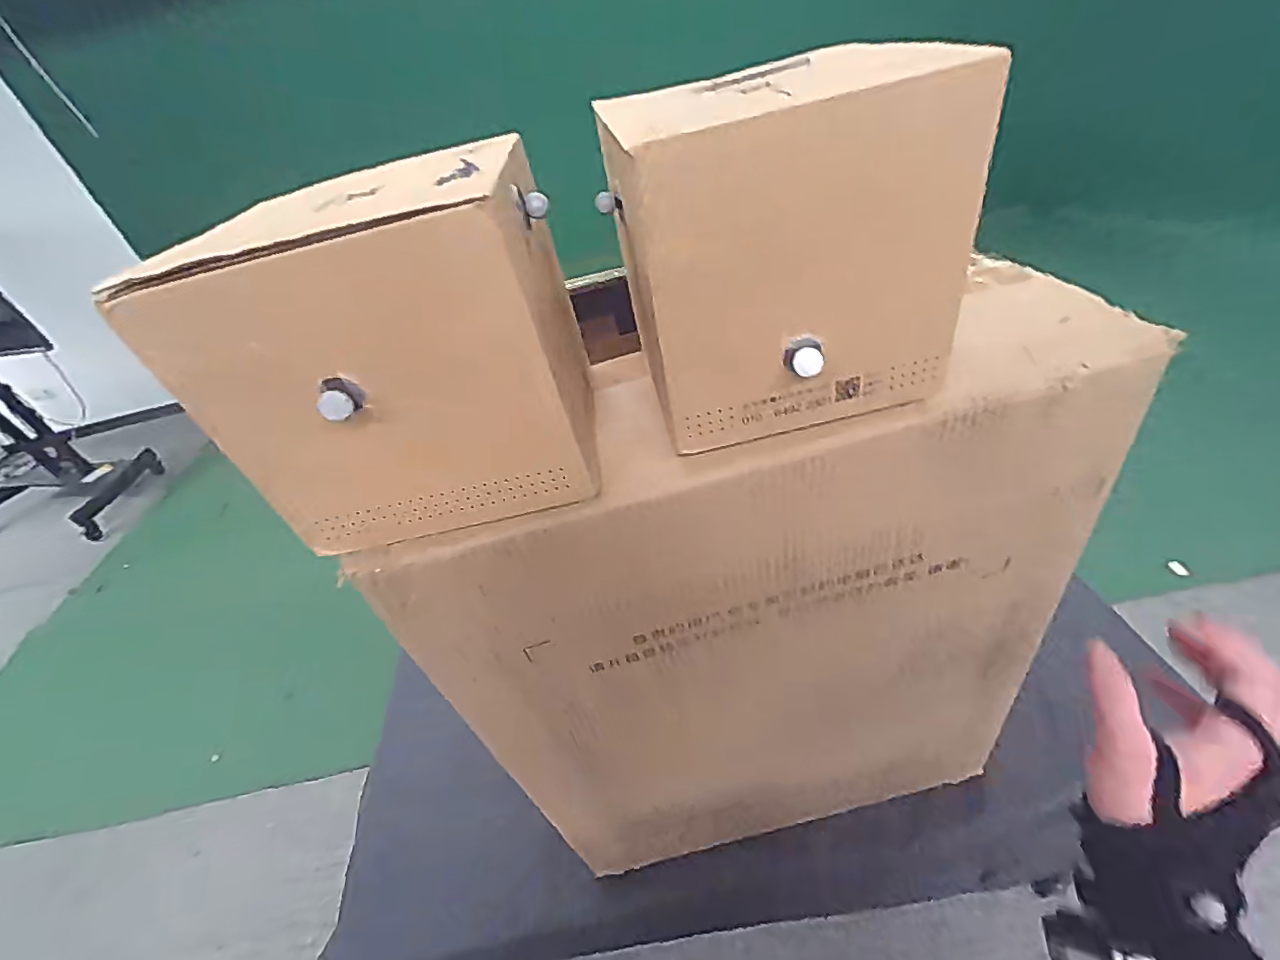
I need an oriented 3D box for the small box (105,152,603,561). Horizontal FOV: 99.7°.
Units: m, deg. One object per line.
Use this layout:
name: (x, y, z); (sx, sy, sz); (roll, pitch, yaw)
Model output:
small box: (-0.129, -0.072, 0.329); (0.179, 0.176, 0.168); (-12, 41, 3)
